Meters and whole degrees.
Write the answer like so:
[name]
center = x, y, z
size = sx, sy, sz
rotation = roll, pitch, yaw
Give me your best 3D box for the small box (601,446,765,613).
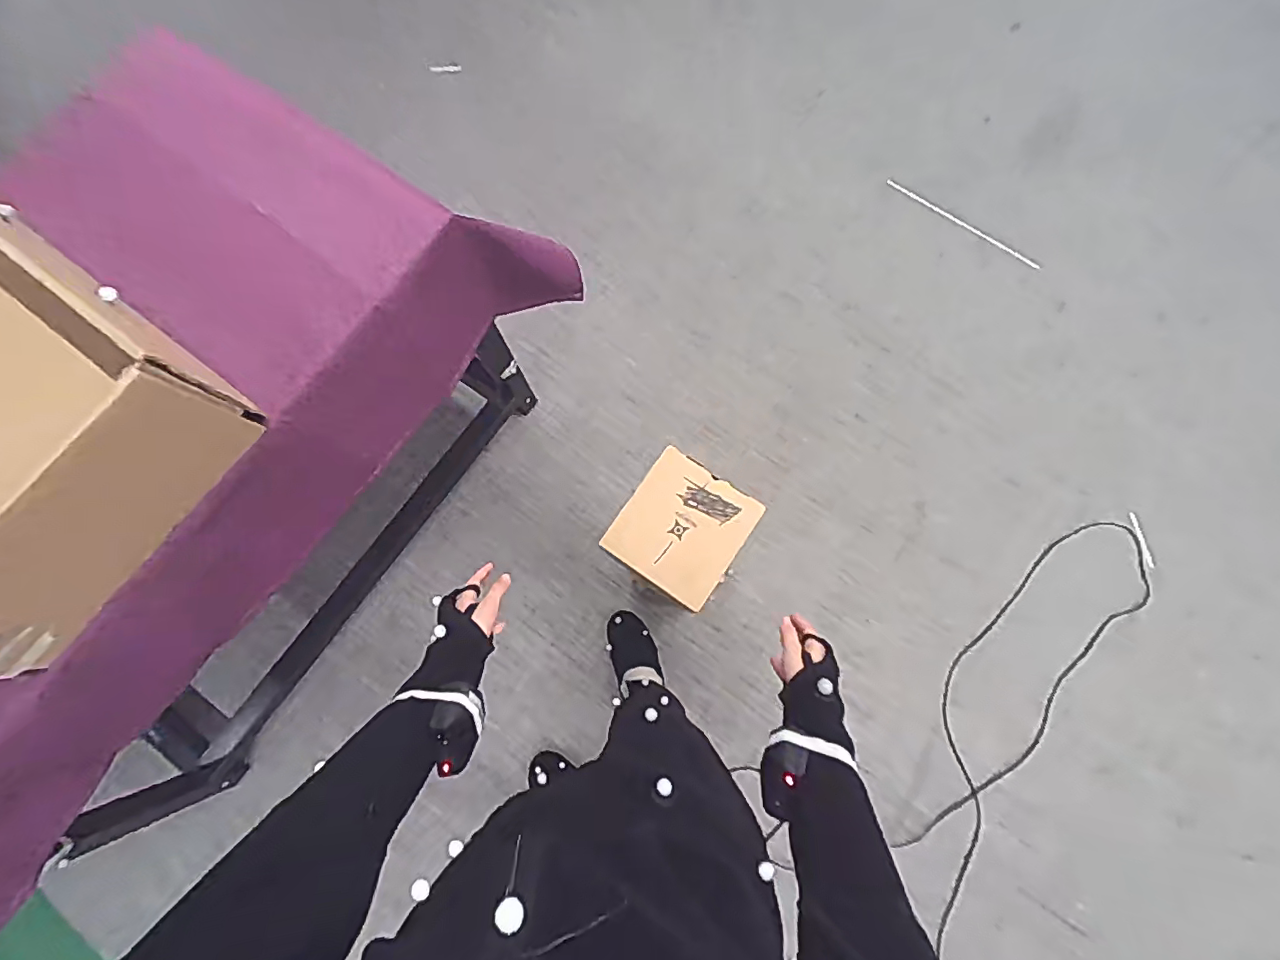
[small box]
center = 0.061, 0.081, 0.819
size = 0.168, 0.176, 0.179
rotation = 34, 81, 9
